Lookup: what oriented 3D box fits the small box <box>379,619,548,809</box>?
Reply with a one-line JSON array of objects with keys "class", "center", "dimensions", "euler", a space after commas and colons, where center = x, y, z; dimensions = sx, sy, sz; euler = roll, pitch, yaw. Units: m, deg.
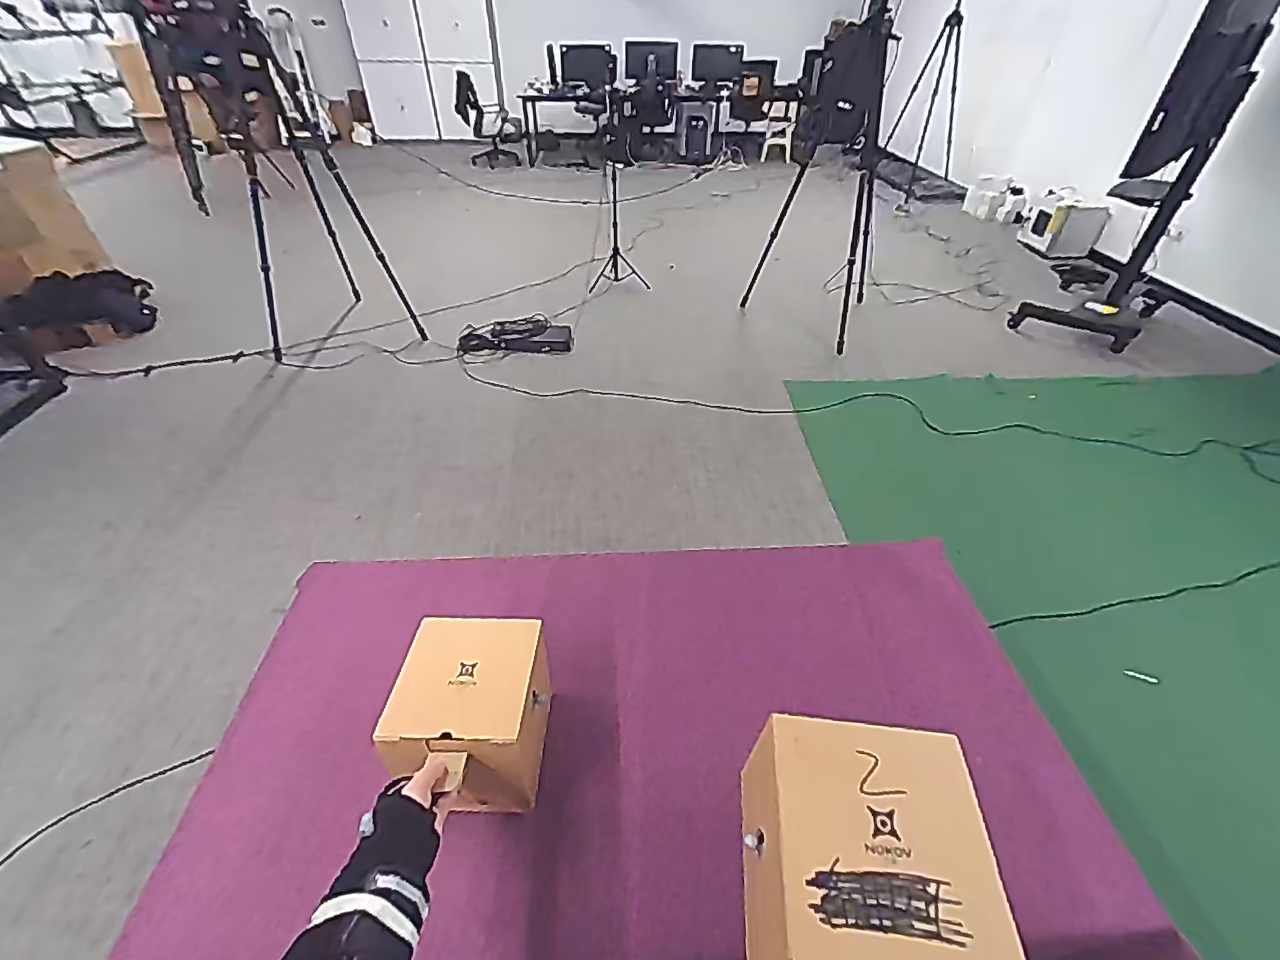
[{"class": "small box", "center": [-0.221, 0.314, 0.734], "dimensions": [0.168, 0.176, 0.179], "euler": [1, 36, 0]}]
